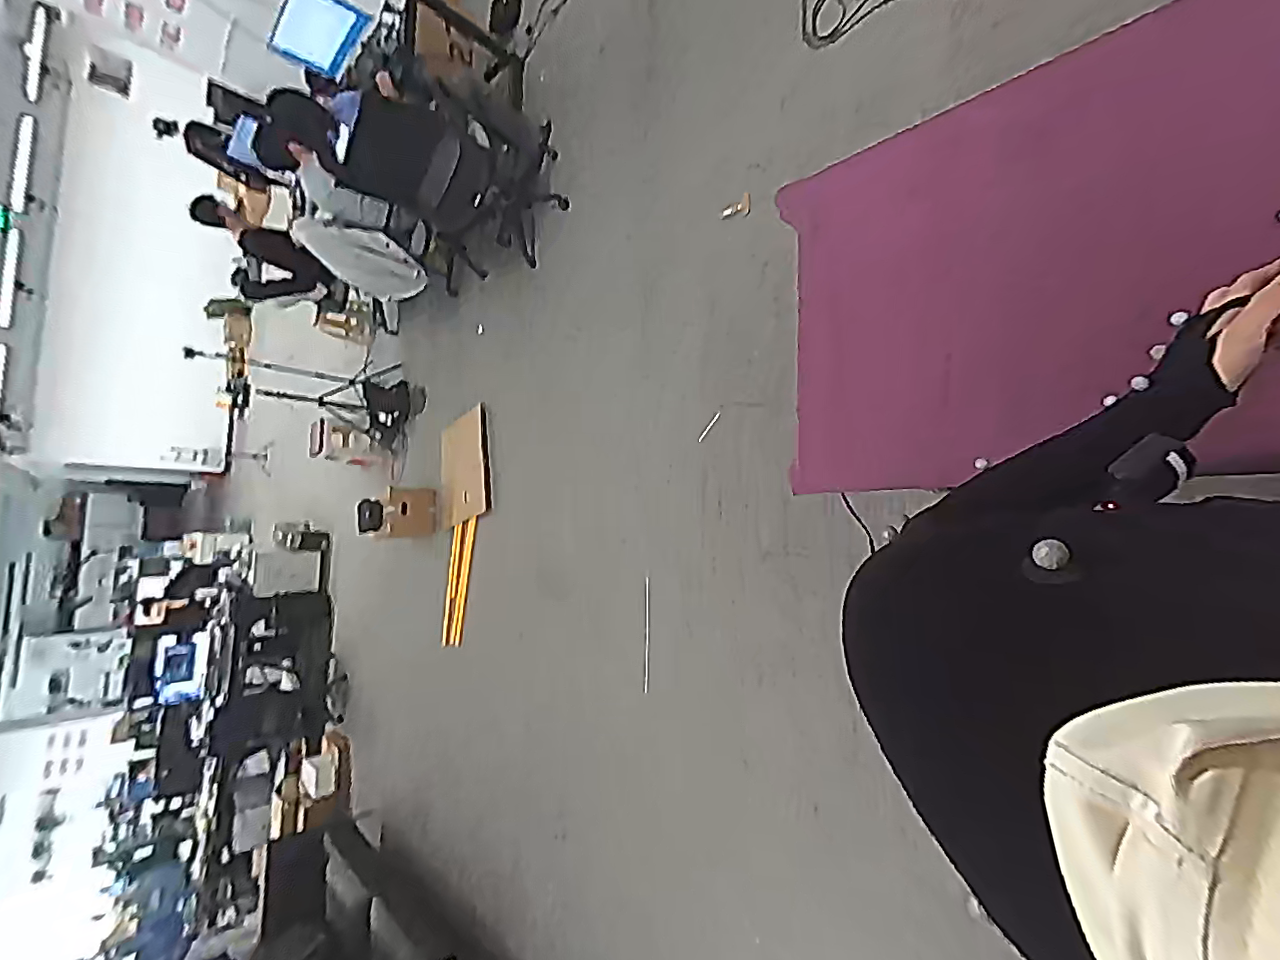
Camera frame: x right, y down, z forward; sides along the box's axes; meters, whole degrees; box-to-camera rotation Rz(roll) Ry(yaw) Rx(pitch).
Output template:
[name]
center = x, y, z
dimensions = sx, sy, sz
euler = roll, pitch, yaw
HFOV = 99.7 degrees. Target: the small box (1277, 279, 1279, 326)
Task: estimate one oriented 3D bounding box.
[small box]
center = 0.653, -0.213, 0.429
dimensions = 0.168, 0.176, 0.179
euler = 18, 100, 49
